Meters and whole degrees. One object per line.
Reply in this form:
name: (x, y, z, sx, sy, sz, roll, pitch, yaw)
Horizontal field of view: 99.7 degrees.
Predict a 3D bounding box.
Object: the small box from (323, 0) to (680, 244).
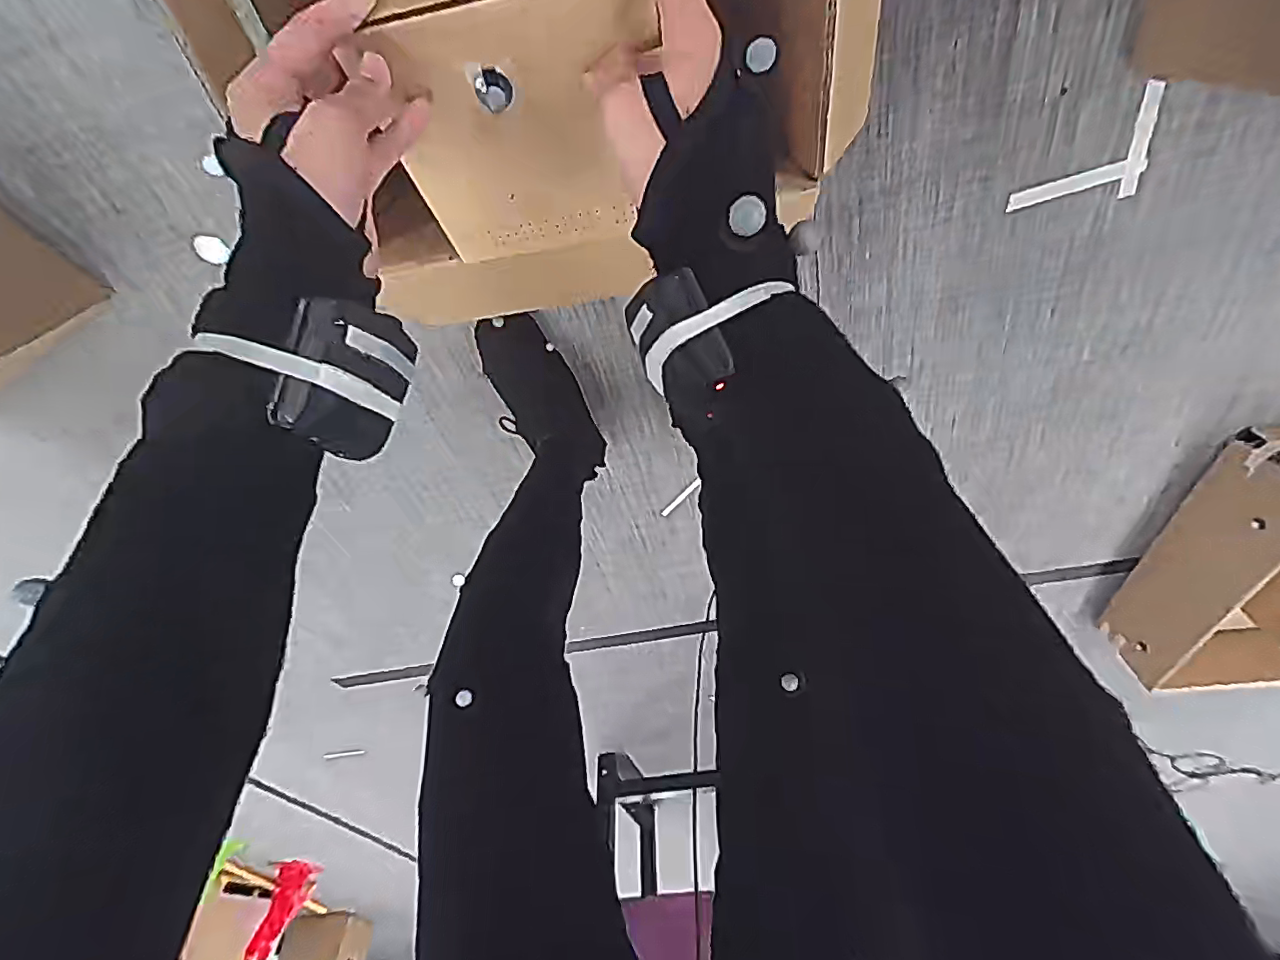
small box: (-0.072, -0.290, 0.373, 0.179, 0.168, 0.176, -7, 158, 6)
